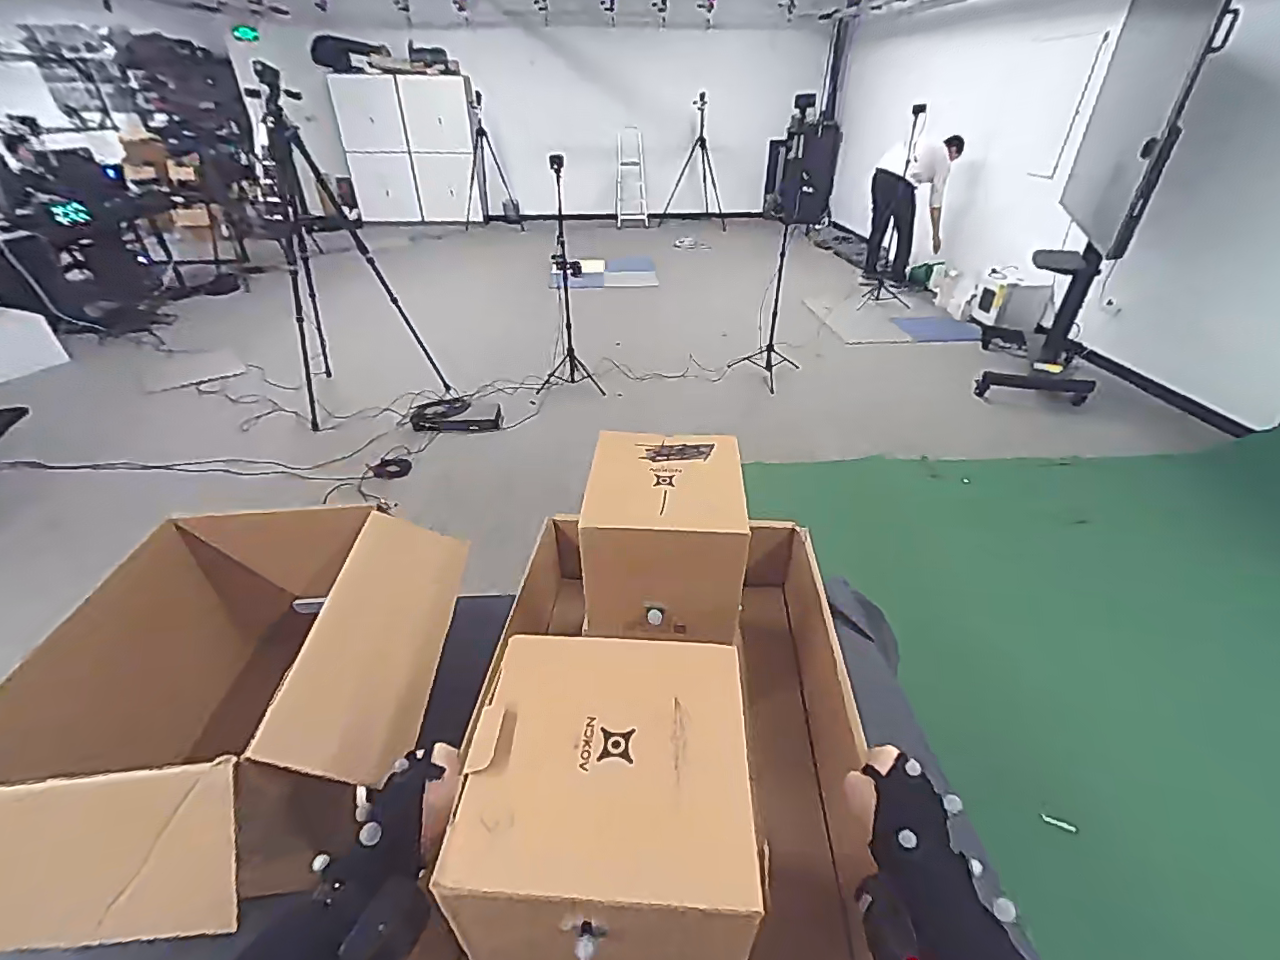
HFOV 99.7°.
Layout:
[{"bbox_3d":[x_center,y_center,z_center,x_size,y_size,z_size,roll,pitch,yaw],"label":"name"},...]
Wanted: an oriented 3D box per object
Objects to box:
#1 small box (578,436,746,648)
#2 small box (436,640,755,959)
[{"bbox_3d":[0.026,0.067,0.630,0.168,0.176,0.179,2,37,4],"label":"small box"},{"bbox_3d":[-0.020,0.240,0.397,0.179,0.176,0.168,3,36,2],"label":"small box"}]
